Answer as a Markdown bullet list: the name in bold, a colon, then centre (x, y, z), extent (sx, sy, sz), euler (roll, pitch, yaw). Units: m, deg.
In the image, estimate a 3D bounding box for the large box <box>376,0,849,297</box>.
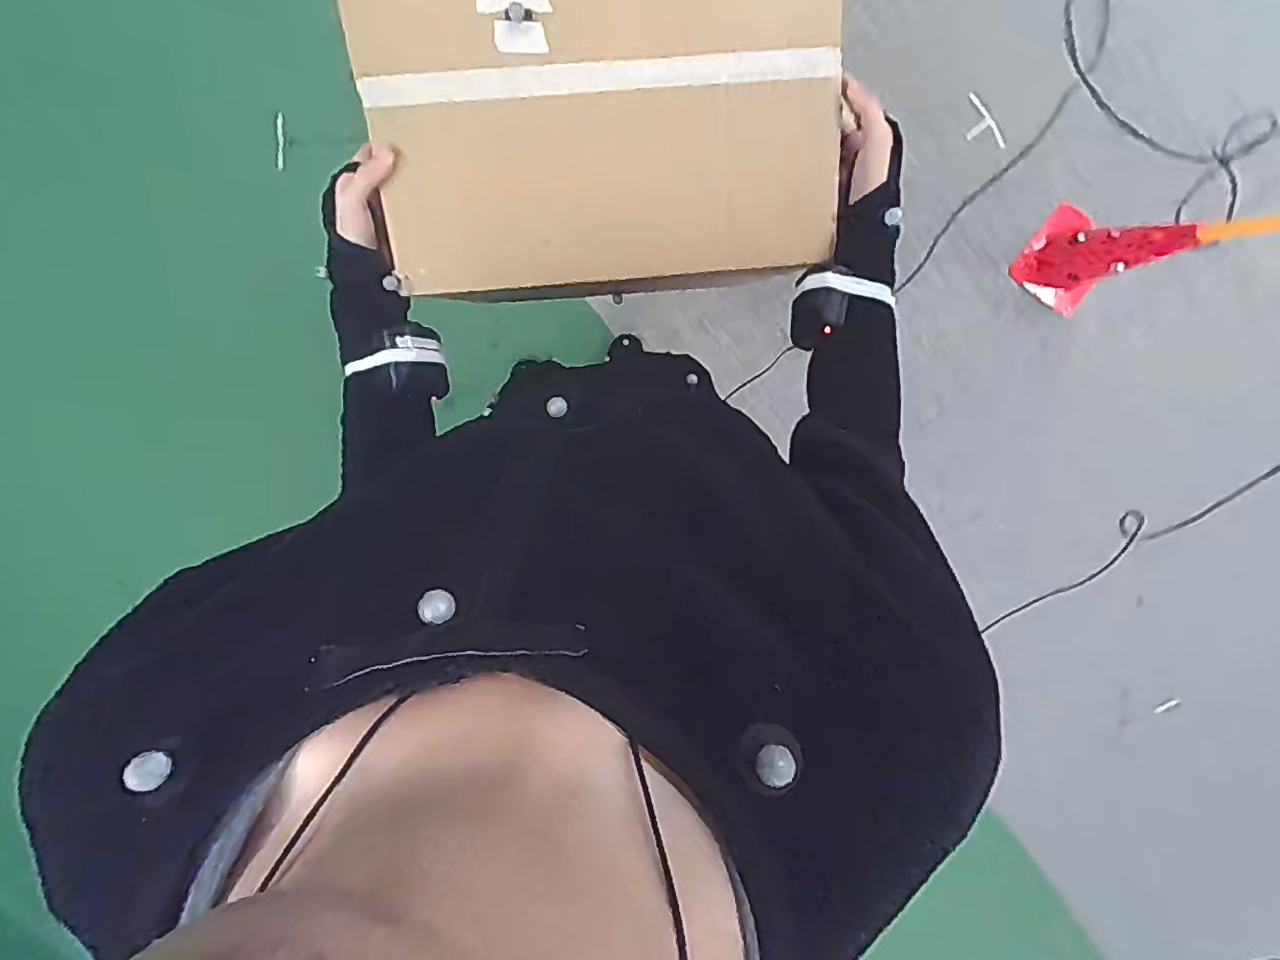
- **large box**: centre (-0.022, -0.384, 0.612), extent (0.408, 0.320, 0.320), euler (-4, 106, -2)
